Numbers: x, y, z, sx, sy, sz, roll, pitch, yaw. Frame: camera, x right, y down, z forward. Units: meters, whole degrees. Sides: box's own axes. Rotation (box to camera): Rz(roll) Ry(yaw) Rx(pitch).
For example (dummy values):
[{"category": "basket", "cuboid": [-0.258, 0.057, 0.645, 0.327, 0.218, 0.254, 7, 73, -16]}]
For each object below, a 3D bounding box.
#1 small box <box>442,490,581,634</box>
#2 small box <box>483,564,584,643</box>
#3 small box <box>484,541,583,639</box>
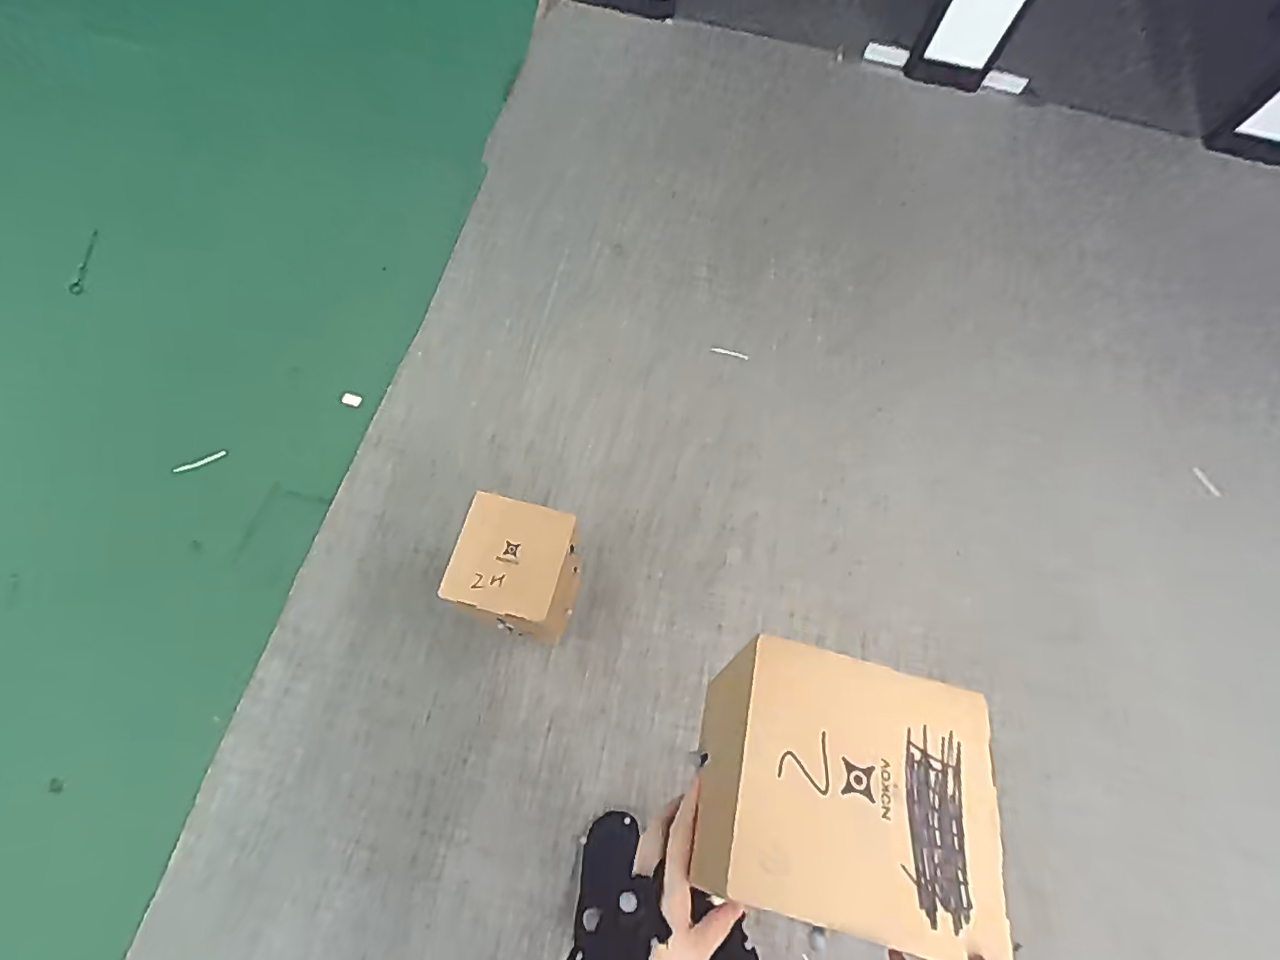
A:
[{"category": "small box", "cuboid": [-0.198, 0.141, 0.891, 0.168, 0.176, 0.179, 14, 69, 3]}, {"category": "small box", "cuboid": [-0.225, 0.253, 1.197, 0.168, 0.176, 0.179, 17, 69, 2]}, {"category": "small box", "cuboid": [-0.211, 0.197, 1.046, 0.168, 0.176, 0.179, 14, 70, 2]}]
